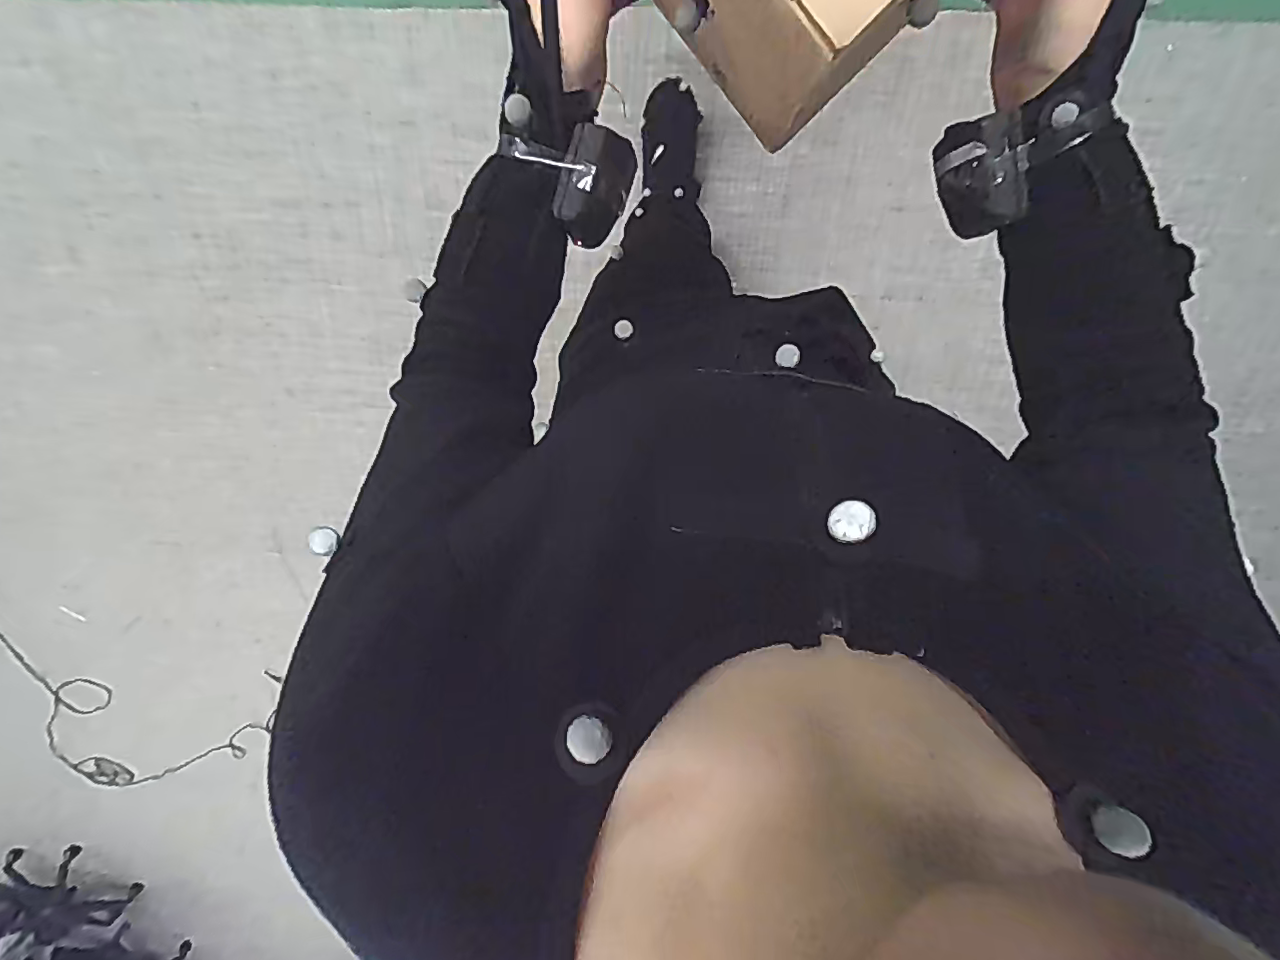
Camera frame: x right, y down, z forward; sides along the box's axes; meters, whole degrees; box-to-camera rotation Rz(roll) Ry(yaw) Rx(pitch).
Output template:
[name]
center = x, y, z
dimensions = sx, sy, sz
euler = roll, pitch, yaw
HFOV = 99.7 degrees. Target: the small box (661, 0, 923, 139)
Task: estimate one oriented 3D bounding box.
[small box]
center = 0.095, -0.323, 0.280
dimensions = 0.179, 0.176, 0.168
euler = -41, 101, 17
